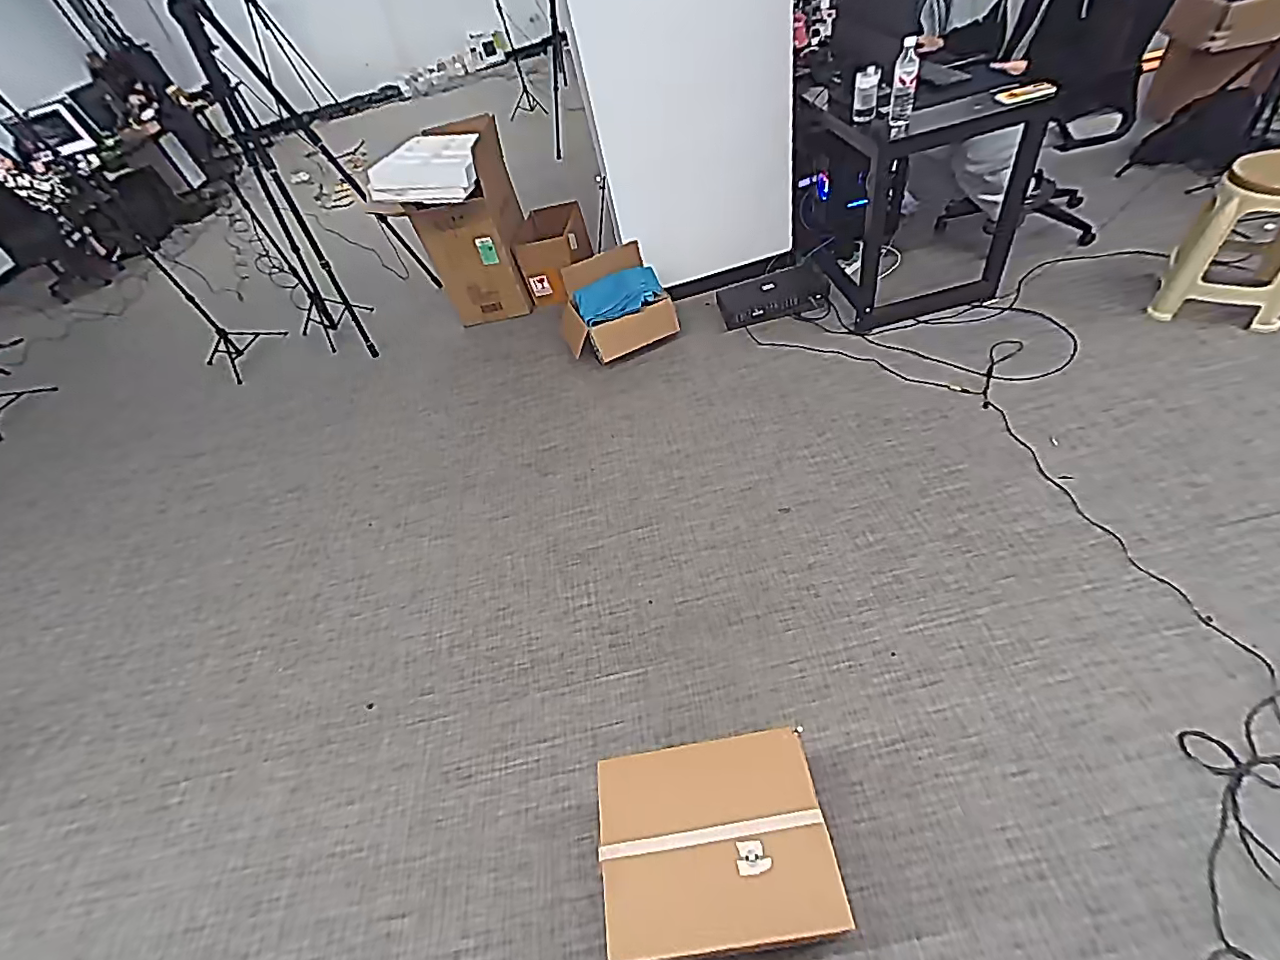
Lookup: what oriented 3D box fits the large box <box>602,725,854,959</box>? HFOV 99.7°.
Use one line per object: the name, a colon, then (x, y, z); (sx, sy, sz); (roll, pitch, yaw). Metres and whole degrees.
large box: (0.161, 0.733, 1.081); (0.408, 0.320, 0.320); (-12, 47, 4)
